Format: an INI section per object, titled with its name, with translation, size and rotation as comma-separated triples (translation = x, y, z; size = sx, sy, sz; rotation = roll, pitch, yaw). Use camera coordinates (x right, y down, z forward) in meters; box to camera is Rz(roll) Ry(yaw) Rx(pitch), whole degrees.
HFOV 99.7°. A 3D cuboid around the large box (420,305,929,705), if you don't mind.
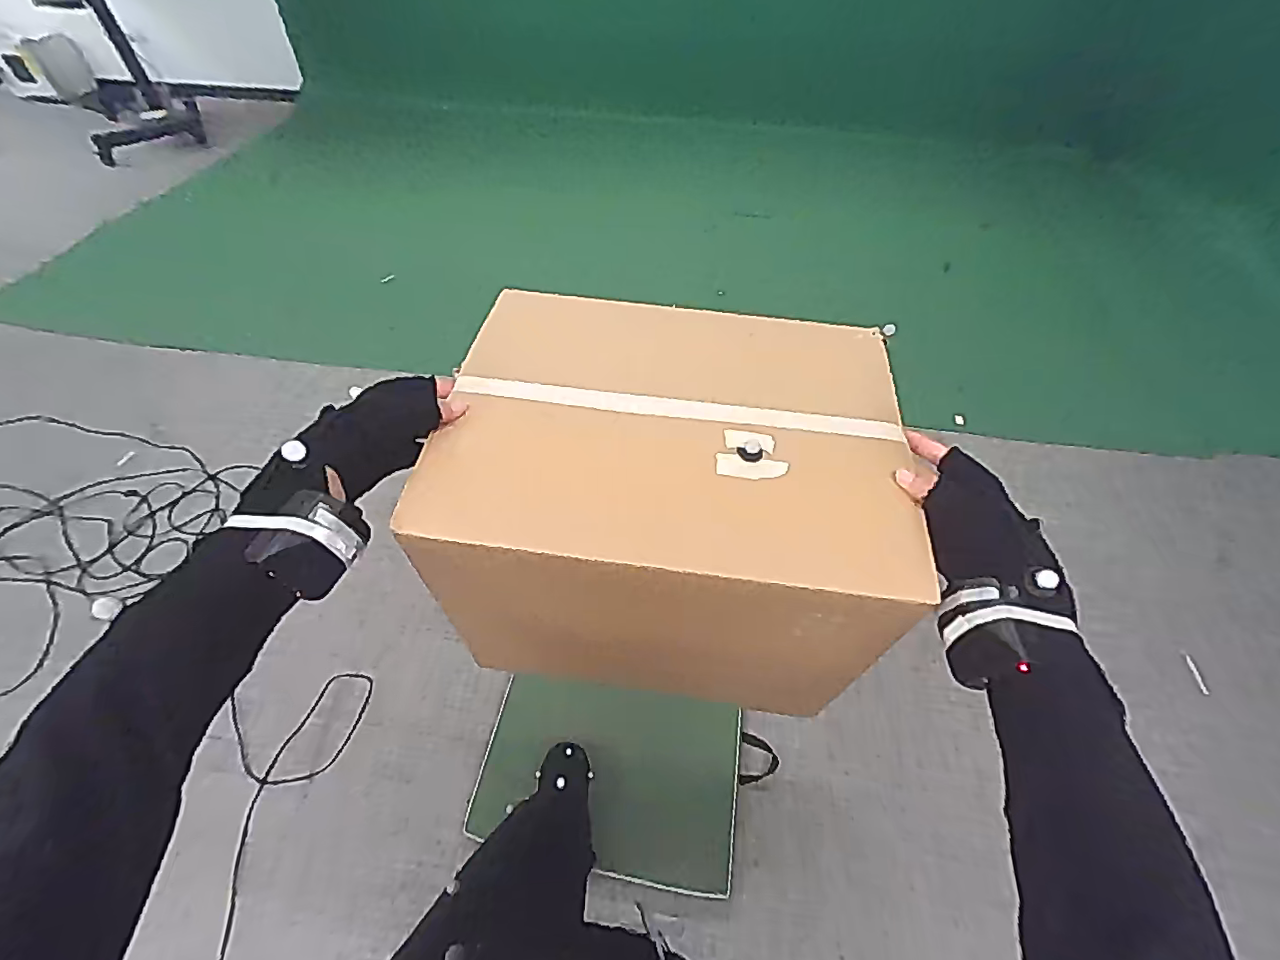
[large box]
translation = 0.031, 0.036, 0.620
size = 0.408, 0.320, 0.320
rotation = 7, 53, 2
